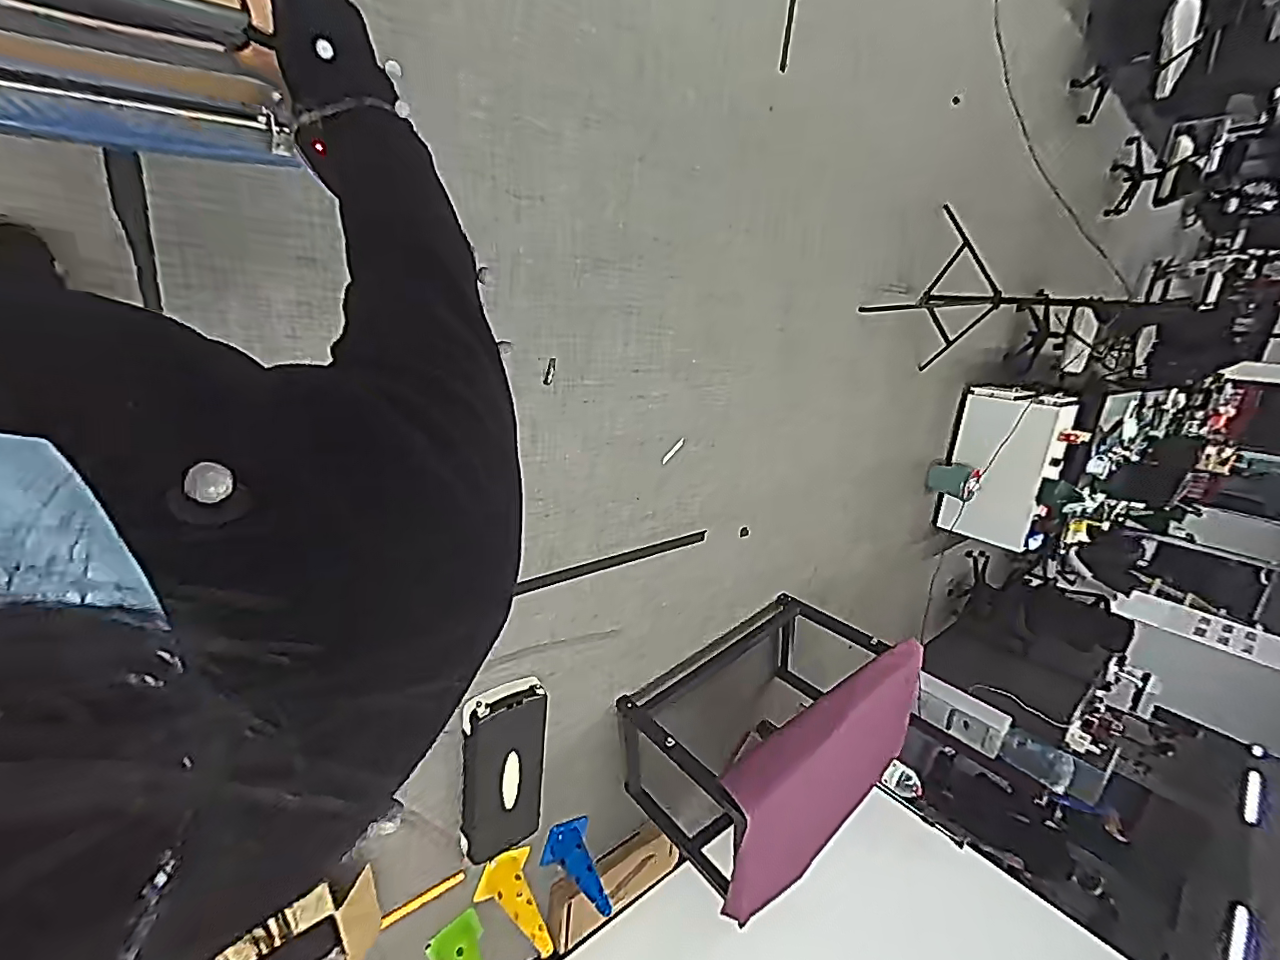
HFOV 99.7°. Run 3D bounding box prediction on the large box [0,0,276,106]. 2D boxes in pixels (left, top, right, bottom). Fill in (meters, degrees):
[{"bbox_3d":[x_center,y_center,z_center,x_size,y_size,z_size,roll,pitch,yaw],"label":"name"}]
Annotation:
[{"bbox_3d":[-0.744,-0.721,0.677,0.408,0.320,0.320,-15,115,-38],"label":"large box"}]
